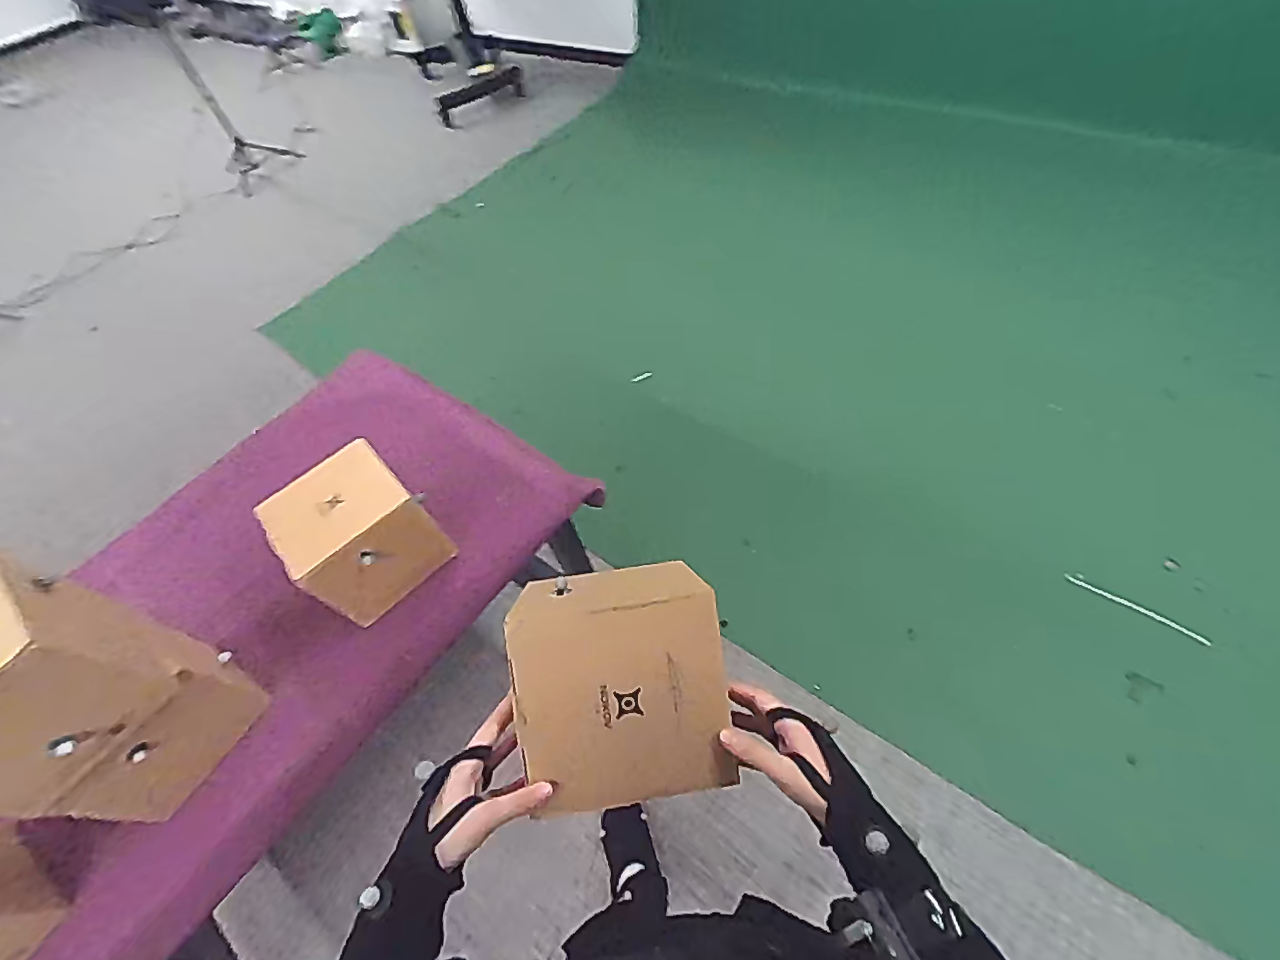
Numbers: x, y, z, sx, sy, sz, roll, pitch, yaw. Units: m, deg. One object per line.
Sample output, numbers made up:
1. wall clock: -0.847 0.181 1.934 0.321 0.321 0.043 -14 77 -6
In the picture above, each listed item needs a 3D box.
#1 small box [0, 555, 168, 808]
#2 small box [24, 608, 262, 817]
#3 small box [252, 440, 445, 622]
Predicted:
1. small box: -0.661 0.210 0.560 0.179 0.176 0.168 30 64 25
2. small box: -0.651 0.303 0.696 0.168 0.176 0.179 23 61 22
3. small box: -0.423 0.080 0.817 0.179 0.176 0.168 -41 59 -17
